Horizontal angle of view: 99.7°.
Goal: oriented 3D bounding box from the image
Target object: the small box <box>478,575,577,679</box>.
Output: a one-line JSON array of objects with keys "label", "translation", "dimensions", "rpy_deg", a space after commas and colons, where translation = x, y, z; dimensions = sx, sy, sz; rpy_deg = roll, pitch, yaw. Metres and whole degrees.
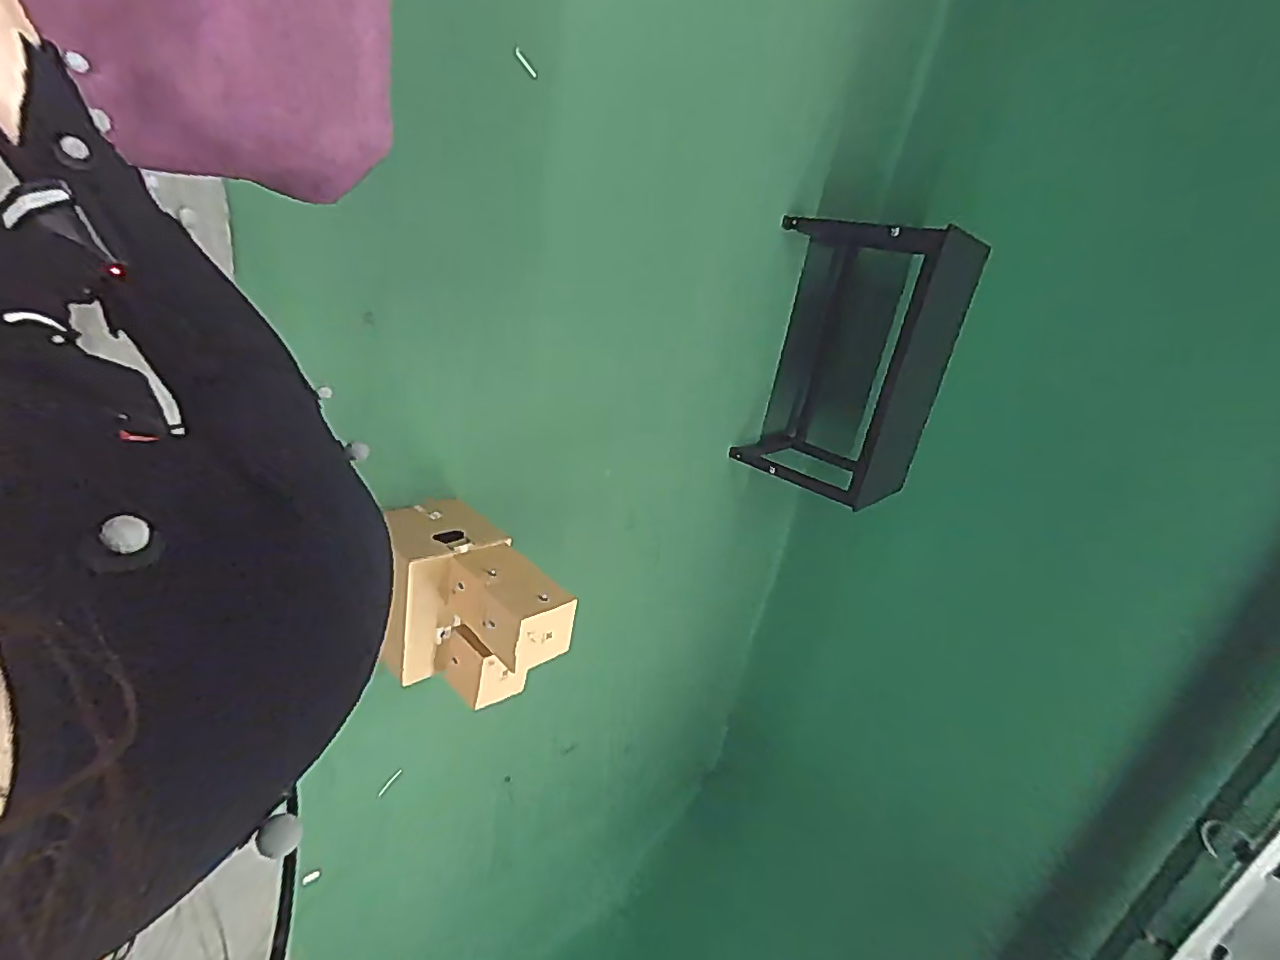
[{"label": "small box", "translation": [-0.291, 0.367, 1.391], "dimensions": [0.179, 0.176, 0.168], "rpy_deg": [-11, 119, -46]}]

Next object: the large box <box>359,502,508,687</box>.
[{"label": "large box", "translation": [-0.631, 0.323, 1.637], "dimensions": [0.320, 0.320, 0.408], "rpy_deg": [-10, 119, -46]}]

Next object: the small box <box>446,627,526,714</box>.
[{"label": "small box", "translation": [-0.446, 0.535, 1.576], "dimensions": [0.168, 0.176, 0.179], "rpy_deg": [-3, 113, -49]}]

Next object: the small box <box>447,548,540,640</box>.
[{"label": "small box", "translation": [-0.406, 0.305, 1.492], "dimensions": [0.179, 0.176, 0.168], "rpy_deg": [-10, 119, -46]}]
